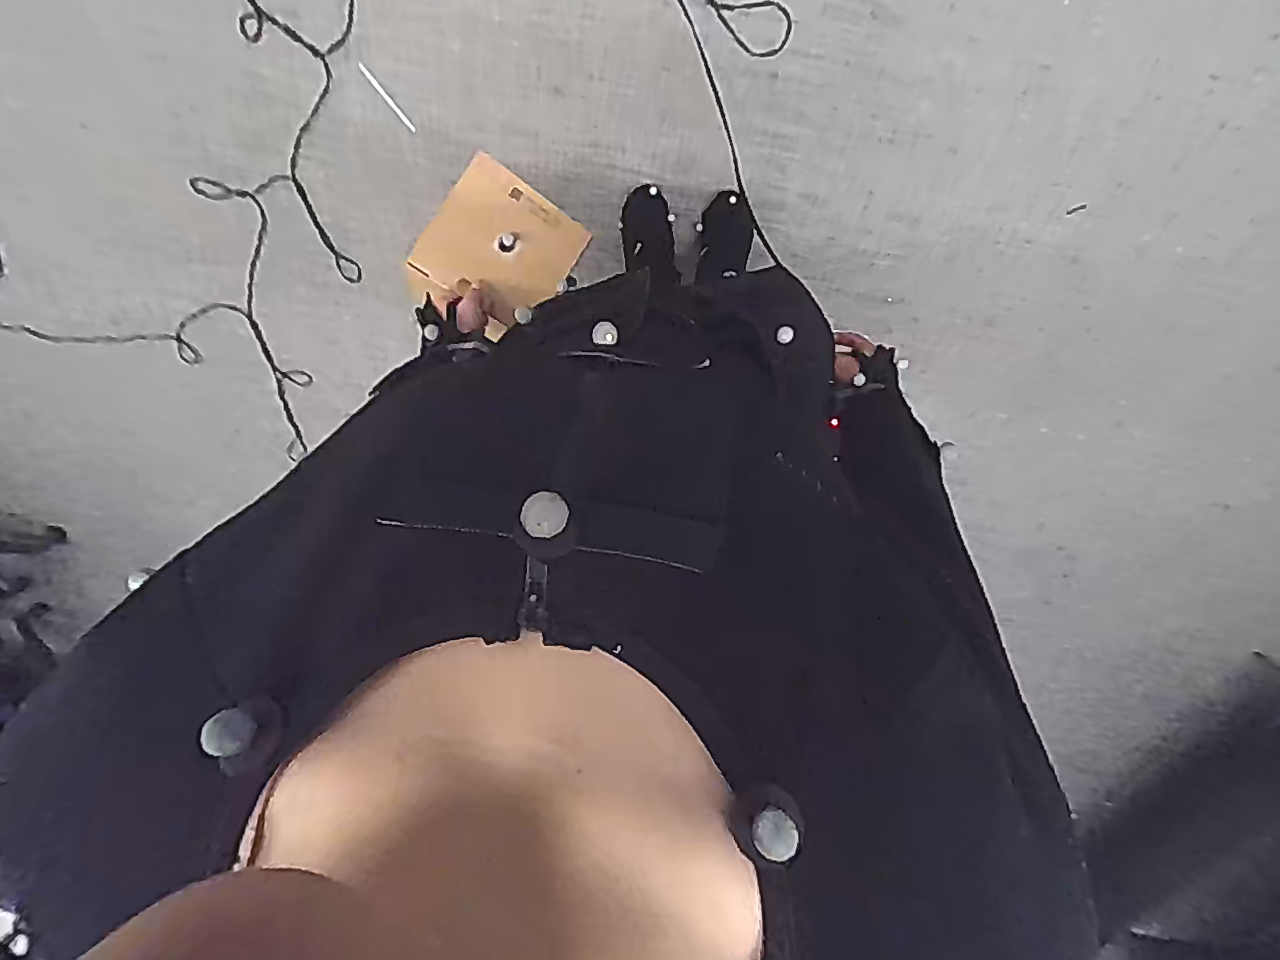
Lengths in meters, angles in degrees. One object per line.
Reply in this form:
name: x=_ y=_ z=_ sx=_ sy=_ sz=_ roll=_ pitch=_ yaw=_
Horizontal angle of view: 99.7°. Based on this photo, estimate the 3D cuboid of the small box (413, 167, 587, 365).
small box: x=-0.193 y=-0.286 z=0.751 sx=0.168 sy=0.179 sz=0.176 roll=31 pitch=83 yaw=-18
